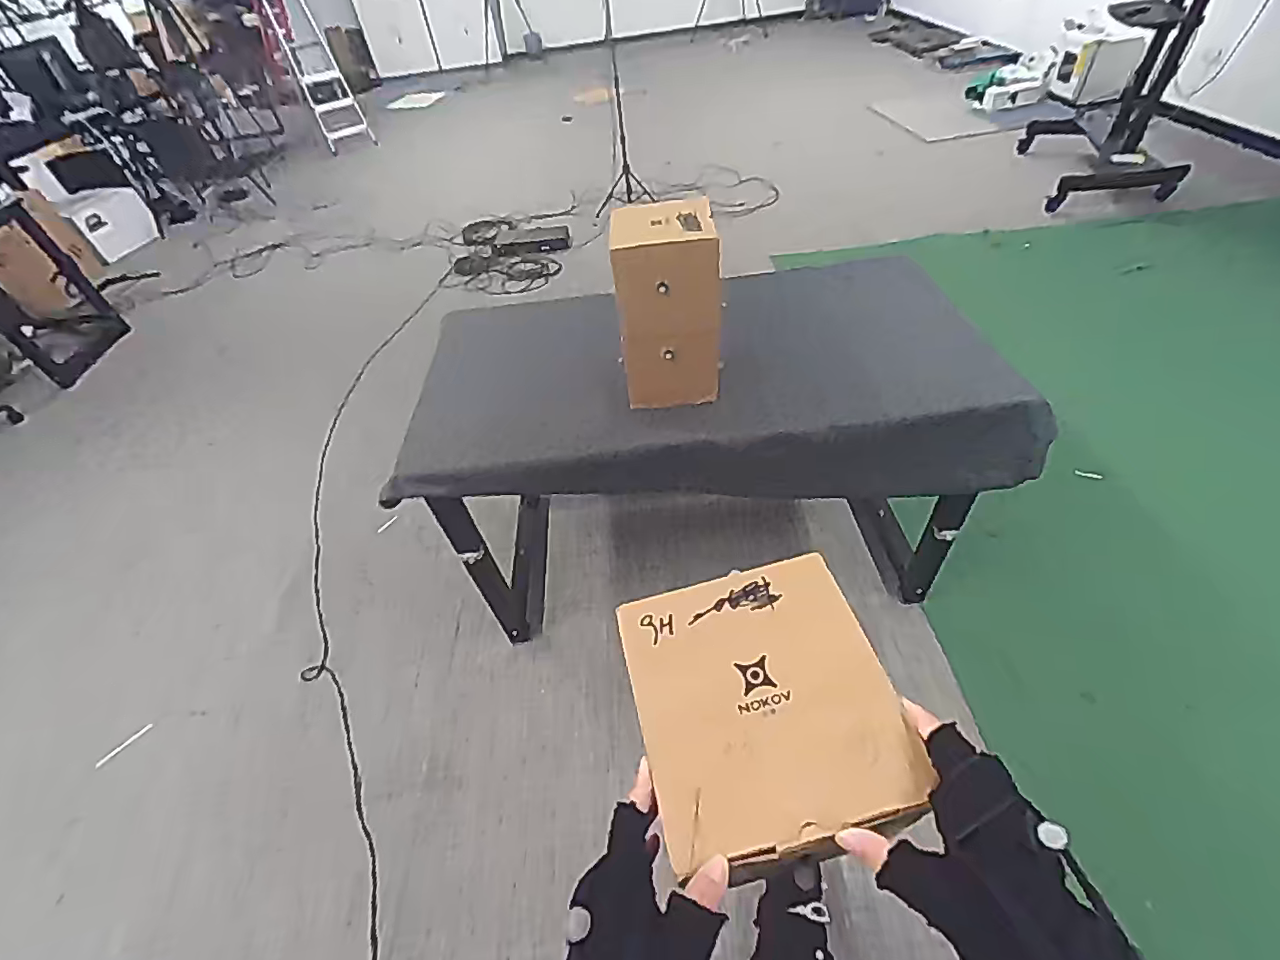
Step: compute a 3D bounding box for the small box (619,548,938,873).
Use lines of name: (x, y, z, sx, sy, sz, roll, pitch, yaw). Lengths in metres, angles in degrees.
small box: (0.092, 0.187, 0.426, 0.168, 0.176, 0.179, -16, 50, -1)

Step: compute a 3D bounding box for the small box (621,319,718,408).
small box: (0.059, -0.258, 1.075, 0.179, 0.176, 0.168, -6, 47, 3)

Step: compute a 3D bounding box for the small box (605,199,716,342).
small box: (0.040, -0.366, 0.952, 0.179, 0.176, 0.168, -6, 47, 5)
